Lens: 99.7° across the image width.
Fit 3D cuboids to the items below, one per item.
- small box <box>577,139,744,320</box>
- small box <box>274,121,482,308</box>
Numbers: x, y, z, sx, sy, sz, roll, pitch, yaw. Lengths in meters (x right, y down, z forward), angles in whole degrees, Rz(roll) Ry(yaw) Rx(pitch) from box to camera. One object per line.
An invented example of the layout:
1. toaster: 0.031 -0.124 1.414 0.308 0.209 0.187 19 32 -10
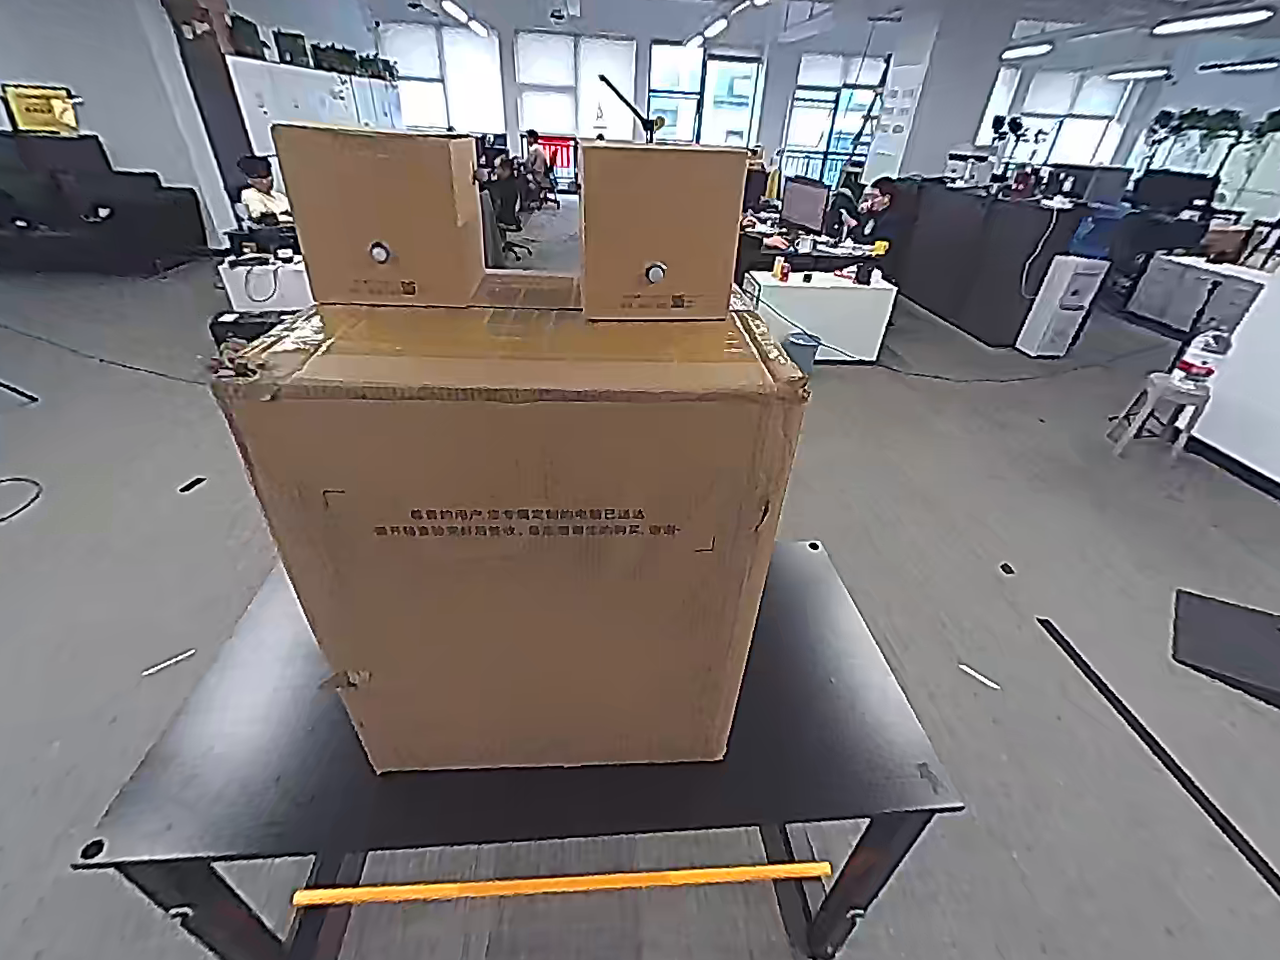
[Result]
1. small box: 0.010 -0.296 0.635 0.168 0.176 0.179 -3 33 -7
2. small box: -0.284 -0.311 0.635 0.168 0.176 0.179 -1 33 -7
